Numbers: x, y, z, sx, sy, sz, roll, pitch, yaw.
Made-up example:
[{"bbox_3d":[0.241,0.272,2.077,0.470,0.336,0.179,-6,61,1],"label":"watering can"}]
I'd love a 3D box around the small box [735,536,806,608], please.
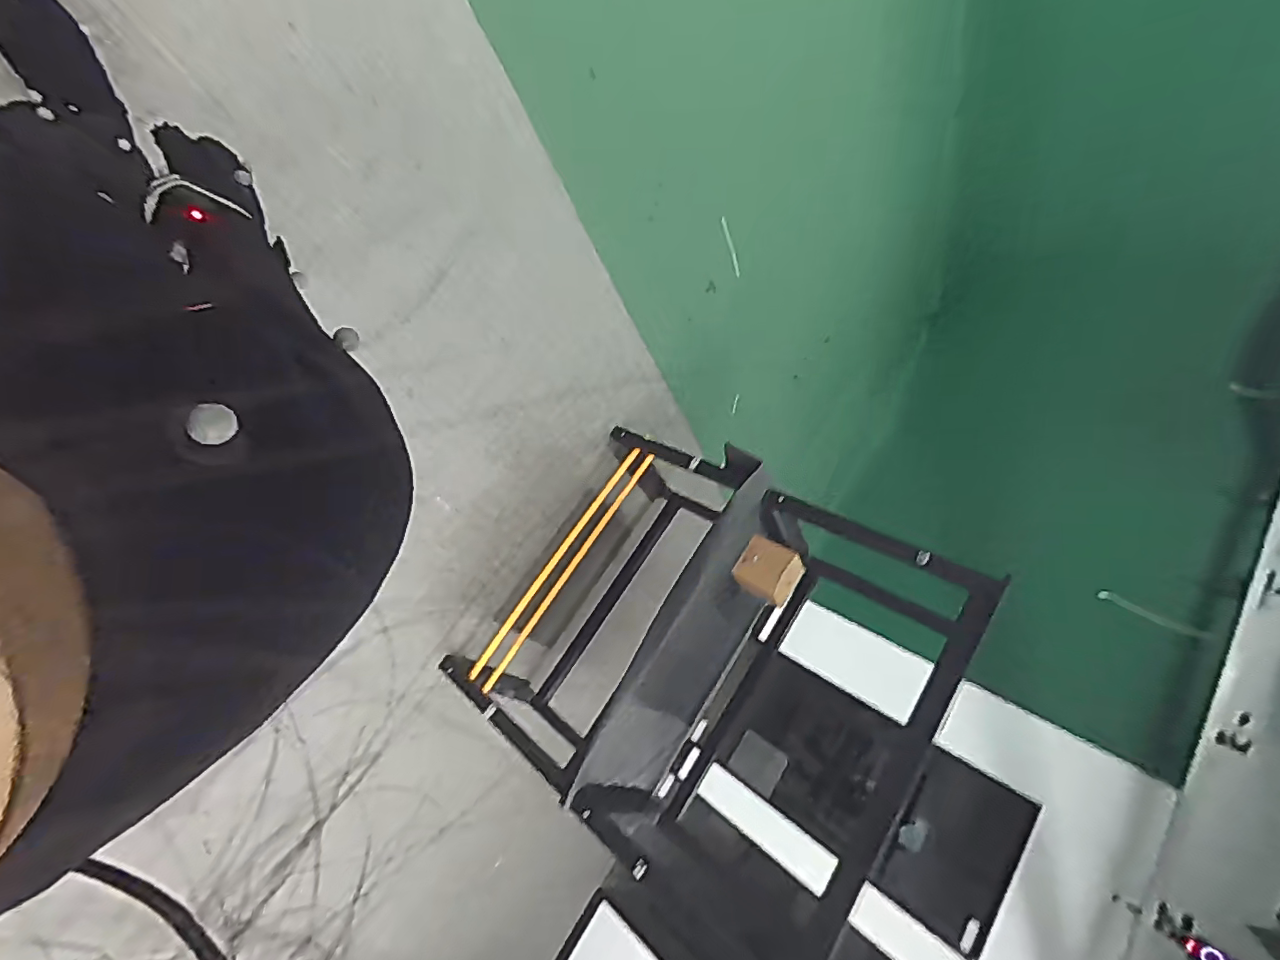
[{"bbox_3d":[0.461,0.321,1.910,0.168,0.176,0.179,-55,143,-14],"label":"small box"}]
